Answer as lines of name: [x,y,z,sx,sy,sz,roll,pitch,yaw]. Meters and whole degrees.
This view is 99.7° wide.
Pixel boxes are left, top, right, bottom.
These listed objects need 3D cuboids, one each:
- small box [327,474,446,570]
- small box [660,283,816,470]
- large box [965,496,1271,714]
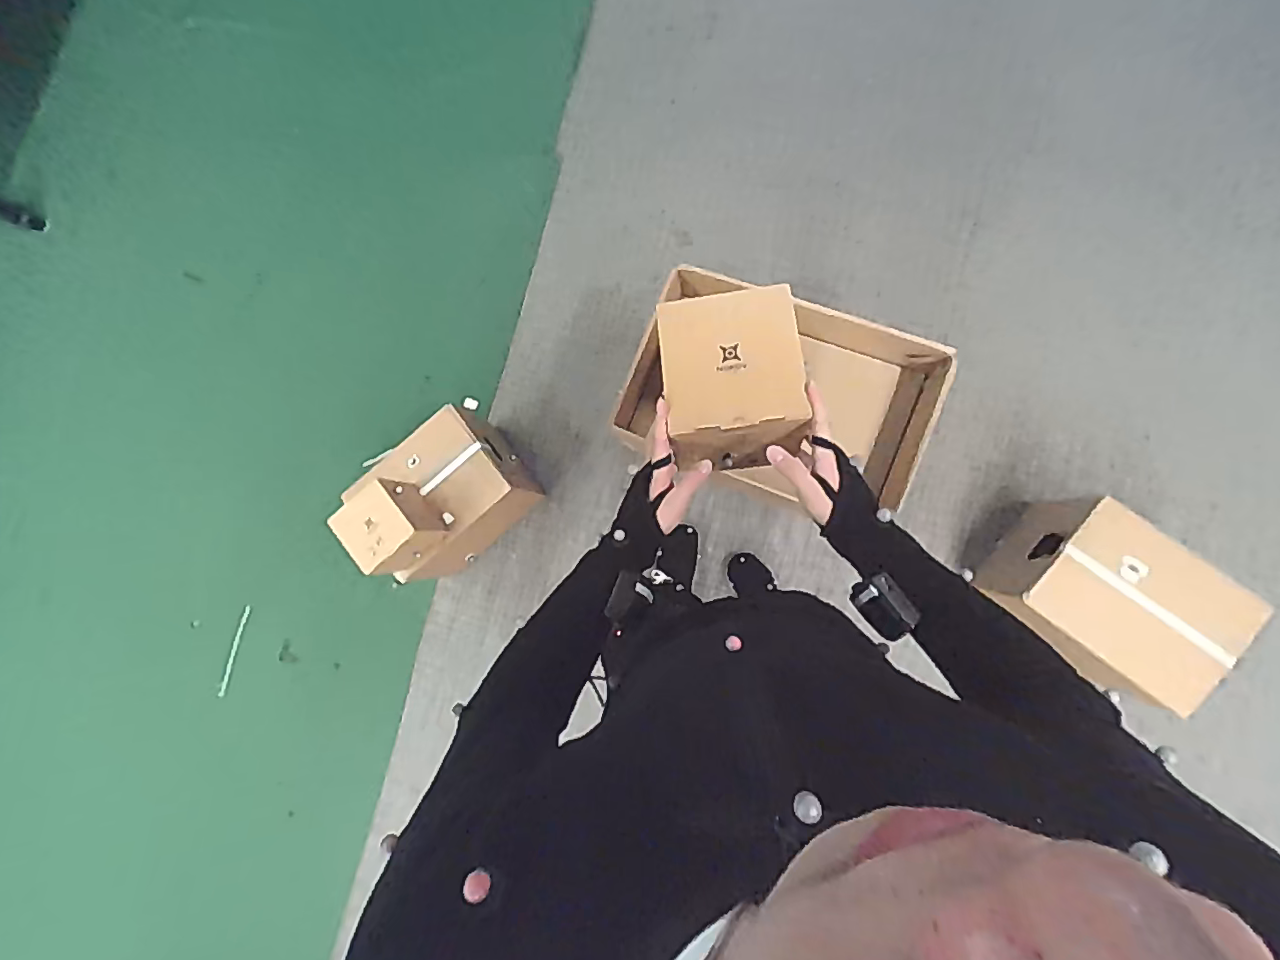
small box: [-0.632,0.108,1.364,0.168,0.176,0.179,-41,82,3]
small box: [0.119,-0.125,0.709,0.168,0.176,0.179,-7,75,6]
large box: [1.137,0.287,1.346,0.408,0.320,0.320,39,90,11]
